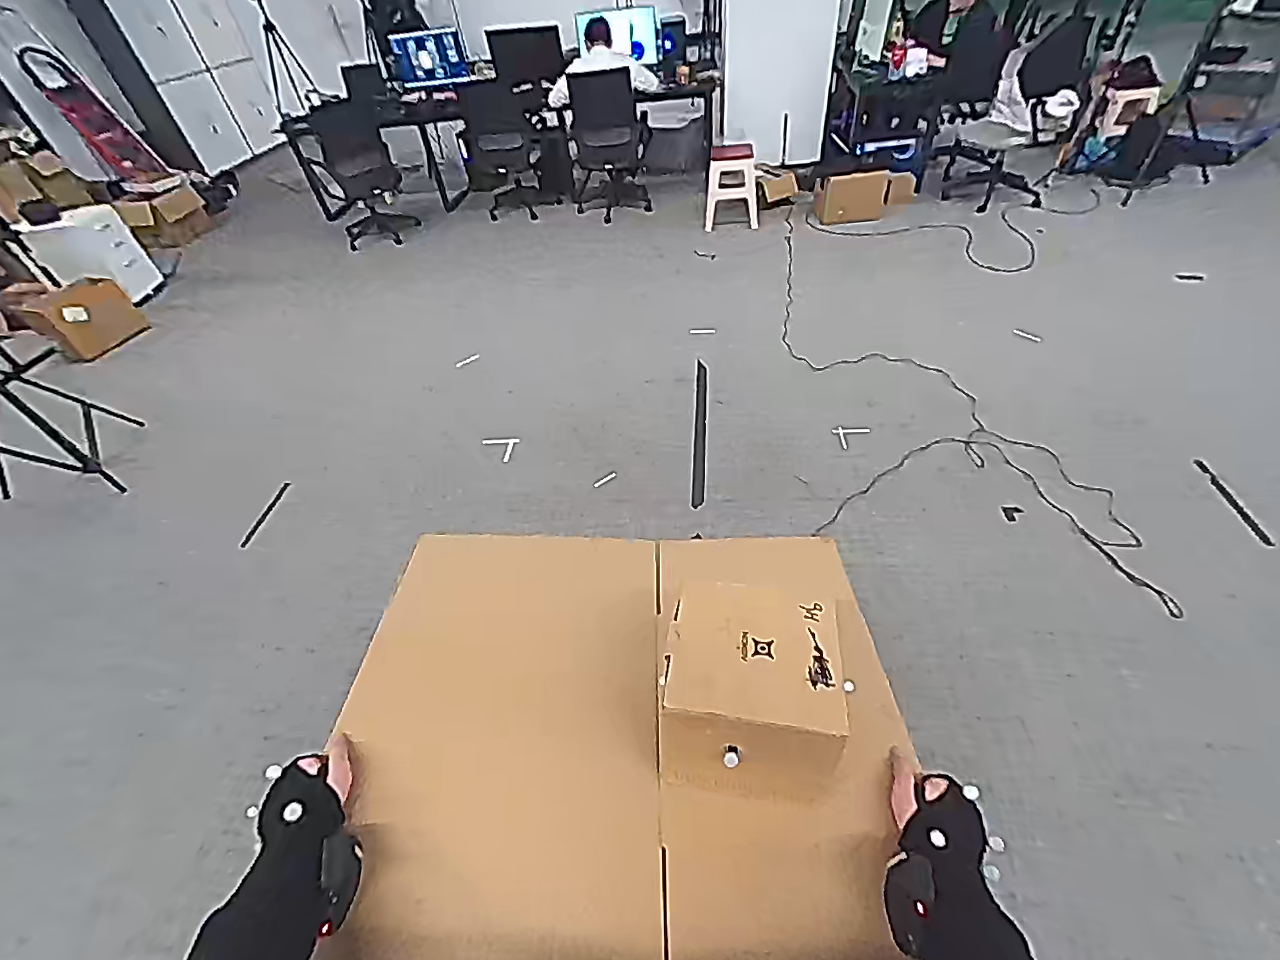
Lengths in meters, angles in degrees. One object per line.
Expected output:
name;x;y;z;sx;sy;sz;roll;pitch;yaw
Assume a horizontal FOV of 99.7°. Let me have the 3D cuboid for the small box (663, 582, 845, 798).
small box;0.128;0.240;0.625;0.179;0.176;0.168;3;40;11
